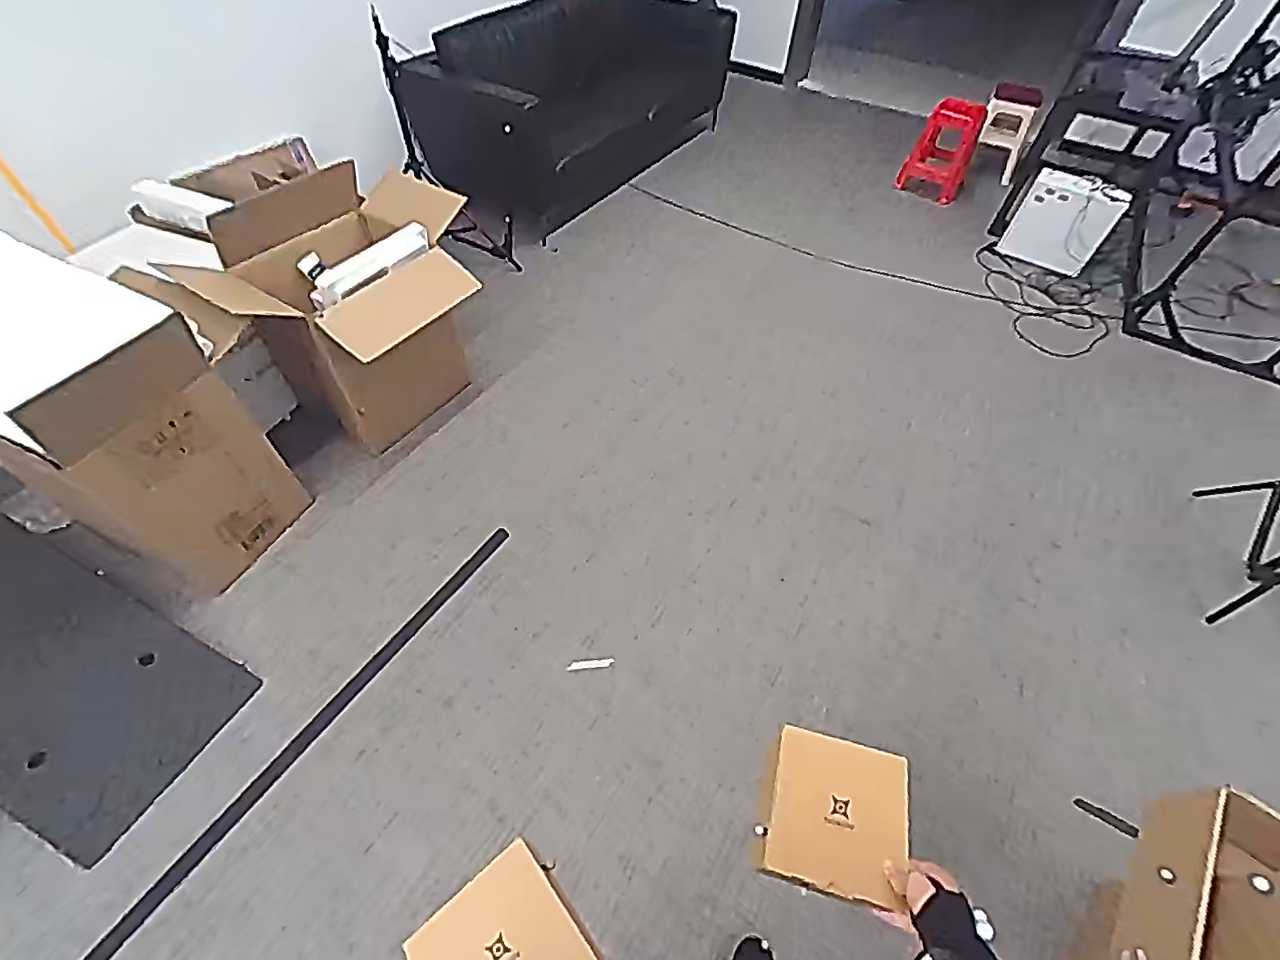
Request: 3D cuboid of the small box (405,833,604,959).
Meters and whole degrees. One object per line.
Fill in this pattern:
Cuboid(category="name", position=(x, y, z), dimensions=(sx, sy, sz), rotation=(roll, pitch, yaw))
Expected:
Cuboid(category="small box", position=(-0.161, 0.595, 0.681), dimensions=(0.168, 0.176, 0.179), rotation=(-33, 58, -25))

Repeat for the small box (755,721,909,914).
Cuboid(category="small box", position=(0.260, 0.466, 0.754), dimensions=(0.168, 0.176, 0.179), rotation=(11, 56, 12))
